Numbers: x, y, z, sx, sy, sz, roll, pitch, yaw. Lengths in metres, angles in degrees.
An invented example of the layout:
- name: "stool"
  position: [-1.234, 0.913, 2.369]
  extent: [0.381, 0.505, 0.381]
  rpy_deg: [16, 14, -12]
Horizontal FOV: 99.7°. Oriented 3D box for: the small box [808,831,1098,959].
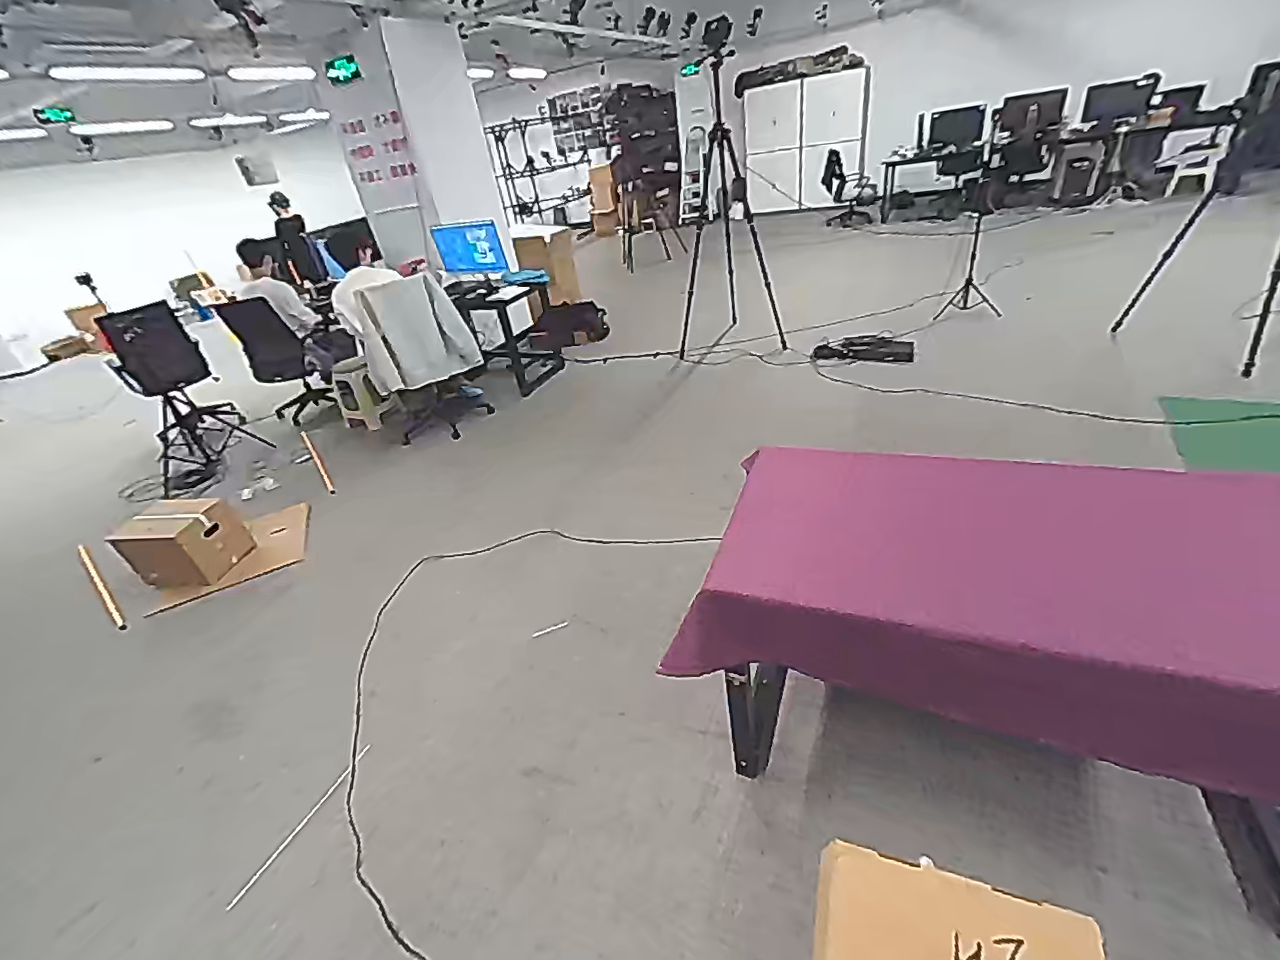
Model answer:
- name: "small box"
  position: [0.214, 0.390, 0.400]
  extent: [0.168, 0.176, 0.179]
  rpy_deg: [6, 55, 19]
